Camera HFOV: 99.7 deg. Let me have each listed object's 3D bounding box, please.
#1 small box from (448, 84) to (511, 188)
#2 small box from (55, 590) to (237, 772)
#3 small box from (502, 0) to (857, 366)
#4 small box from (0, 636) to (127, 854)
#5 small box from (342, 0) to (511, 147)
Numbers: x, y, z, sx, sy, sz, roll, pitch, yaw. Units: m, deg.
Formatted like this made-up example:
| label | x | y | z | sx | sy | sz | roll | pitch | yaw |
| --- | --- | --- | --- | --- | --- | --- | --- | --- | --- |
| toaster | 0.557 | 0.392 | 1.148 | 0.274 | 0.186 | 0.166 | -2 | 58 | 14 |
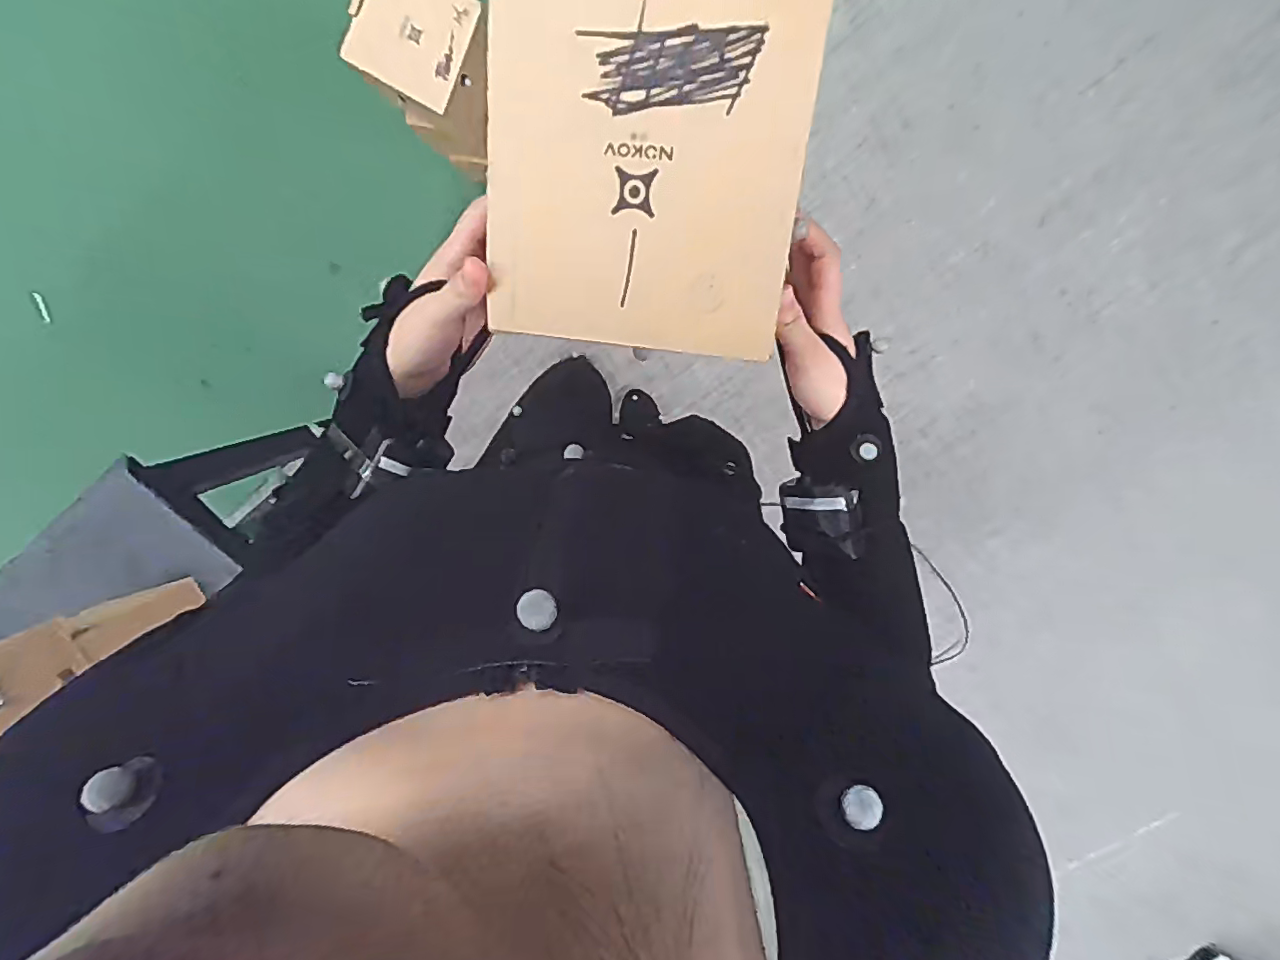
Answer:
| label | x | y | z | sx | sy | sz | roll | pitch | yaw |
| --- | --- | --- | --- | --- | --- | --- | --- | --- | --- |
| small box | -0.309 | -0.763 | 1.207 | 0.179 | 0.176 | 0.168 | 9 | 105 | 0 |
| small box | -0.701 | 0.270 | 0.735 | 0.179 | 0.176 | 0.168 | -16 | 104 | 8 |
| small box | 0.022 | -0.179 | 0.353 | 0.168 | 0.176 | 0.179 | 9 | 109 | 7 |
| small box | -0.711 | 0.293 | 0.573 | 0.179 | 0.176 | 0.168 | -21 | 102 | 10 |
| small box | -0.338 | -0.687 | 0.888 | 0.179 | 0.176 | 0.168 | 27 | 105 | -5 |
